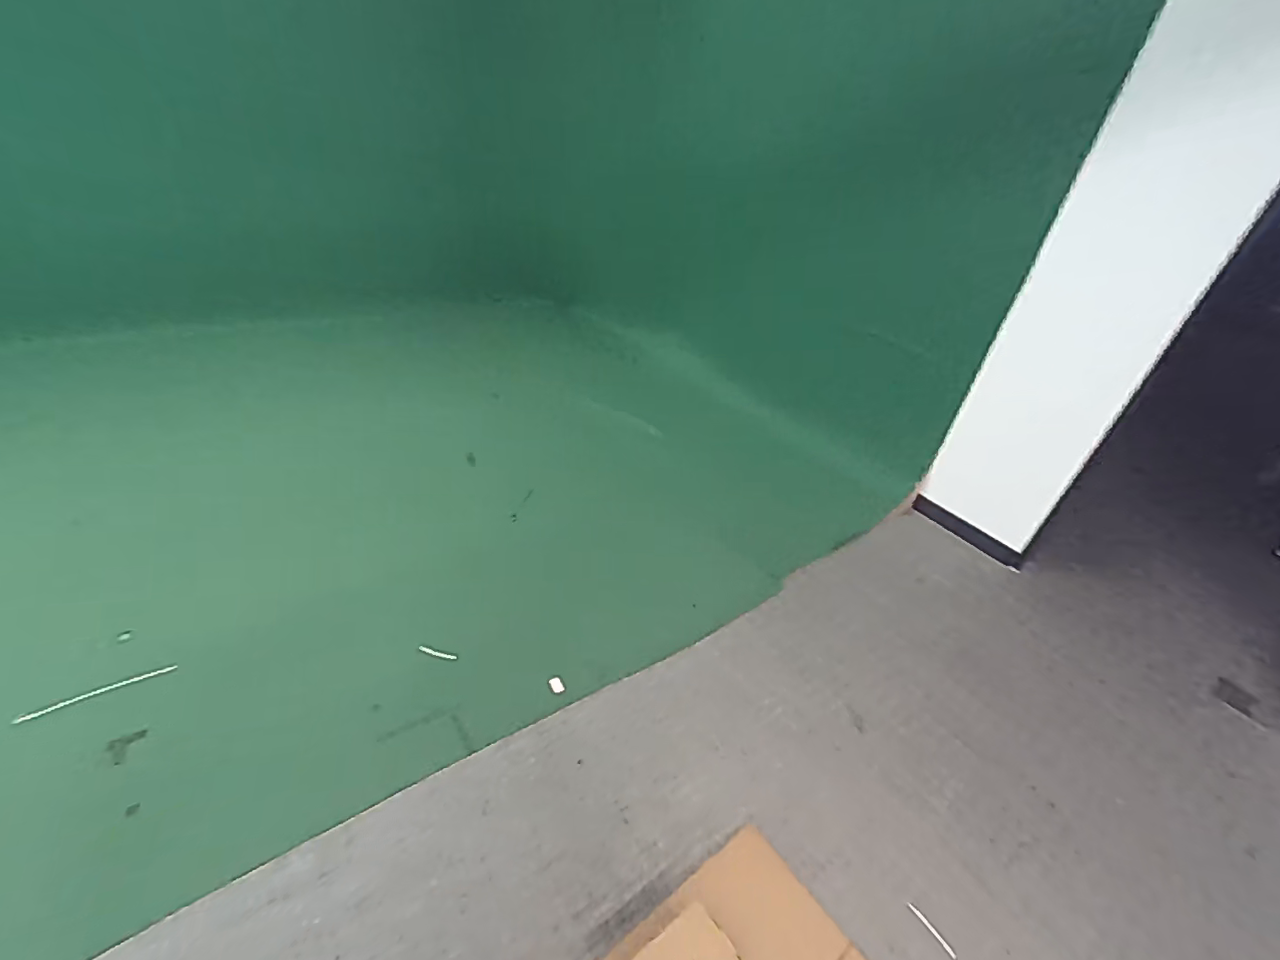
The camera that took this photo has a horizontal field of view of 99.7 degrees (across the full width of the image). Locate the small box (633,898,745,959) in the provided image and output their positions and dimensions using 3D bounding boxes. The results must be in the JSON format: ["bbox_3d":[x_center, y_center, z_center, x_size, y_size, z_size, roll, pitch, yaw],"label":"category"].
[{"bbox_3d":[0.090,0.929,0.988,0.179,0.176,0.168,-20,43,-32],"label":"small box"}]
